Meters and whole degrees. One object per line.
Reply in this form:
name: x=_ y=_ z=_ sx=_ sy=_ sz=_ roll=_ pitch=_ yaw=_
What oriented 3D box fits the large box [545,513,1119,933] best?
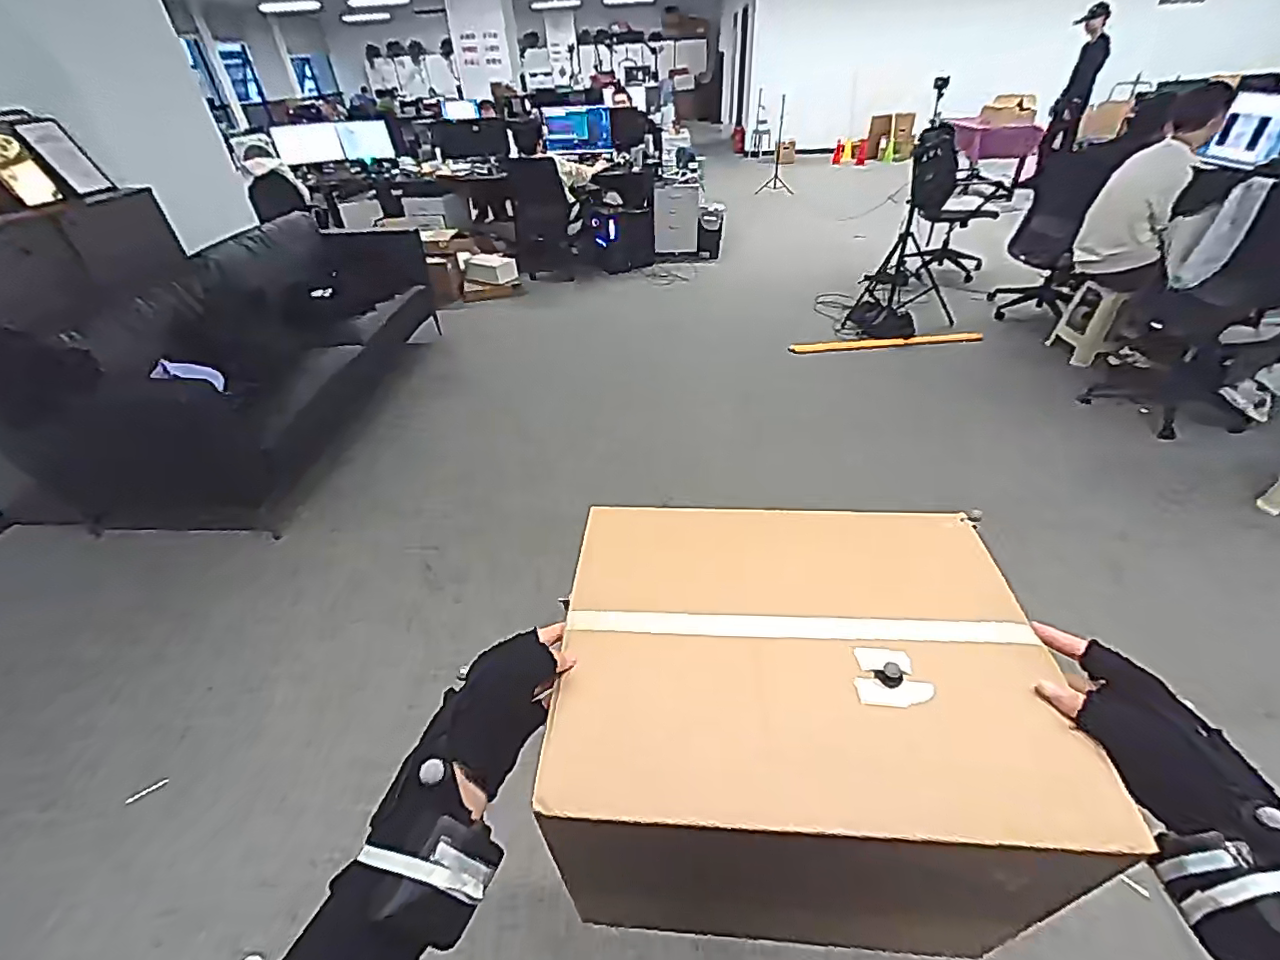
large box: x=0.140 y=0.250 z=0.583 sx=0.408 sy=0.320 sz=0.320 roll=0 pitch=40 yaw=5
